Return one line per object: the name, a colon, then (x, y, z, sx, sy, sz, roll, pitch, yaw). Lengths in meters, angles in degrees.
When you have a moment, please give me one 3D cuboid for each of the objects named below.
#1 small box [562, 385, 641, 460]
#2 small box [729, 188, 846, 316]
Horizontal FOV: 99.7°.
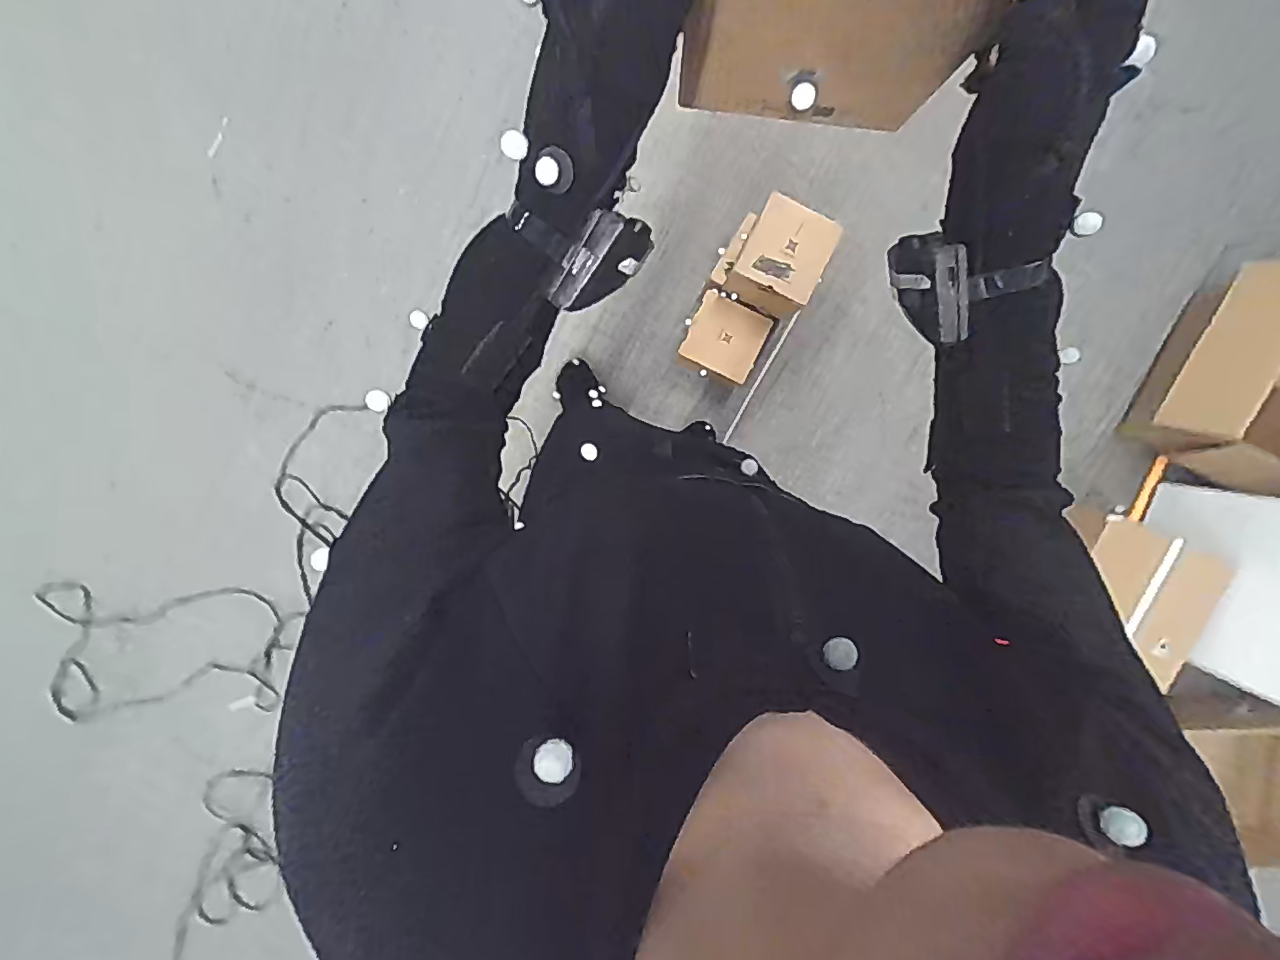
small box: (-0.105, -0.151, 1.396, 0.168, 0.176, 0.179, -1, 101, -20)
small box: (0.303, -0.475, 1.158, 0.168, 0.176, 0.179, 26, 96, -3)
